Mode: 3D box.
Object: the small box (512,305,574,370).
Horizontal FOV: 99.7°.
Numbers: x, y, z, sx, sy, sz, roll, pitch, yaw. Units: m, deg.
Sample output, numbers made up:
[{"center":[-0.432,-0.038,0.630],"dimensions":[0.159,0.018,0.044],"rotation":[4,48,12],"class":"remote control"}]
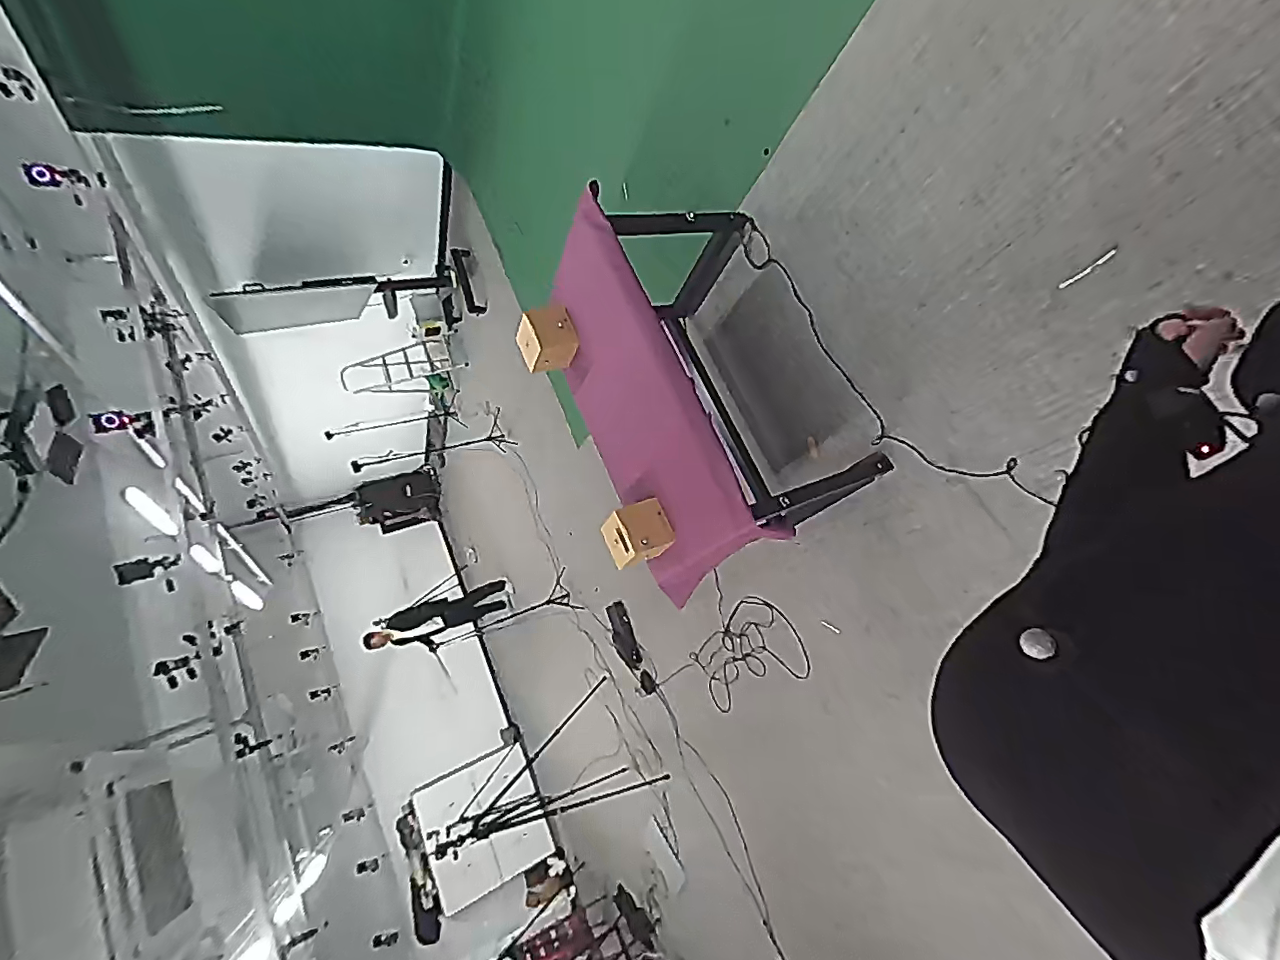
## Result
[{"center":[-0.373,-0.550,2.081],"dimensions":[0.168,0.176,0.179],"rotation":[63,149,11],"class":"small box"}]
